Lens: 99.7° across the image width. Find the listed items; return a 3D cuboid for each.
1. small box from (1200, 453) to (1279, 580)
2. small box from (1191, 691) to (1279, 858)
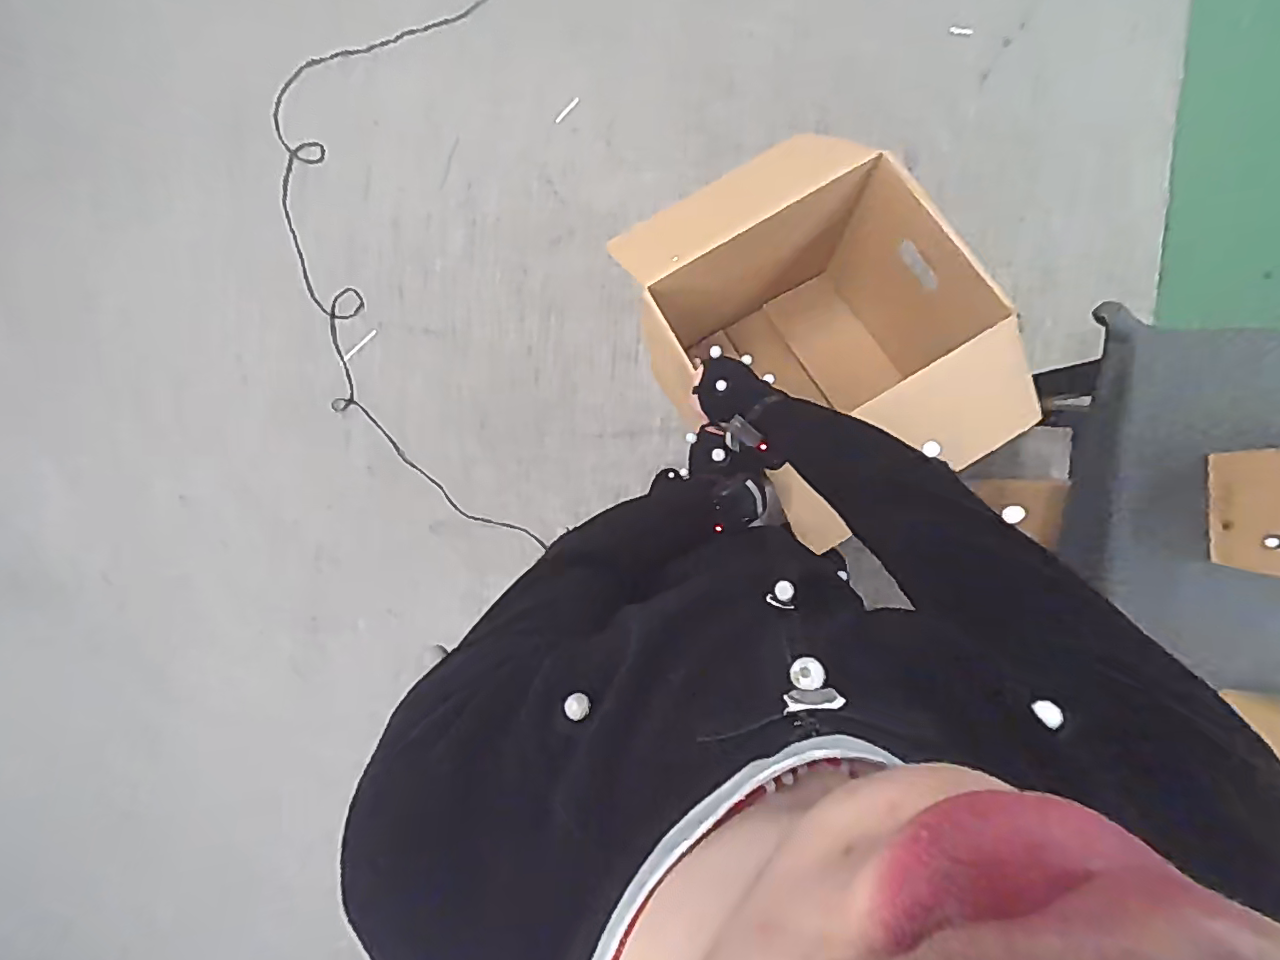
[{"bbox_3d":[0.917,0.048,0.726,0.179,0.176,0.168,-4,94,-1],"label":"small box"},{"bbox_3d":[0.921,0.417,0.738,0.168,0.176,0.179,7,93,0],"label":"small box"}]
